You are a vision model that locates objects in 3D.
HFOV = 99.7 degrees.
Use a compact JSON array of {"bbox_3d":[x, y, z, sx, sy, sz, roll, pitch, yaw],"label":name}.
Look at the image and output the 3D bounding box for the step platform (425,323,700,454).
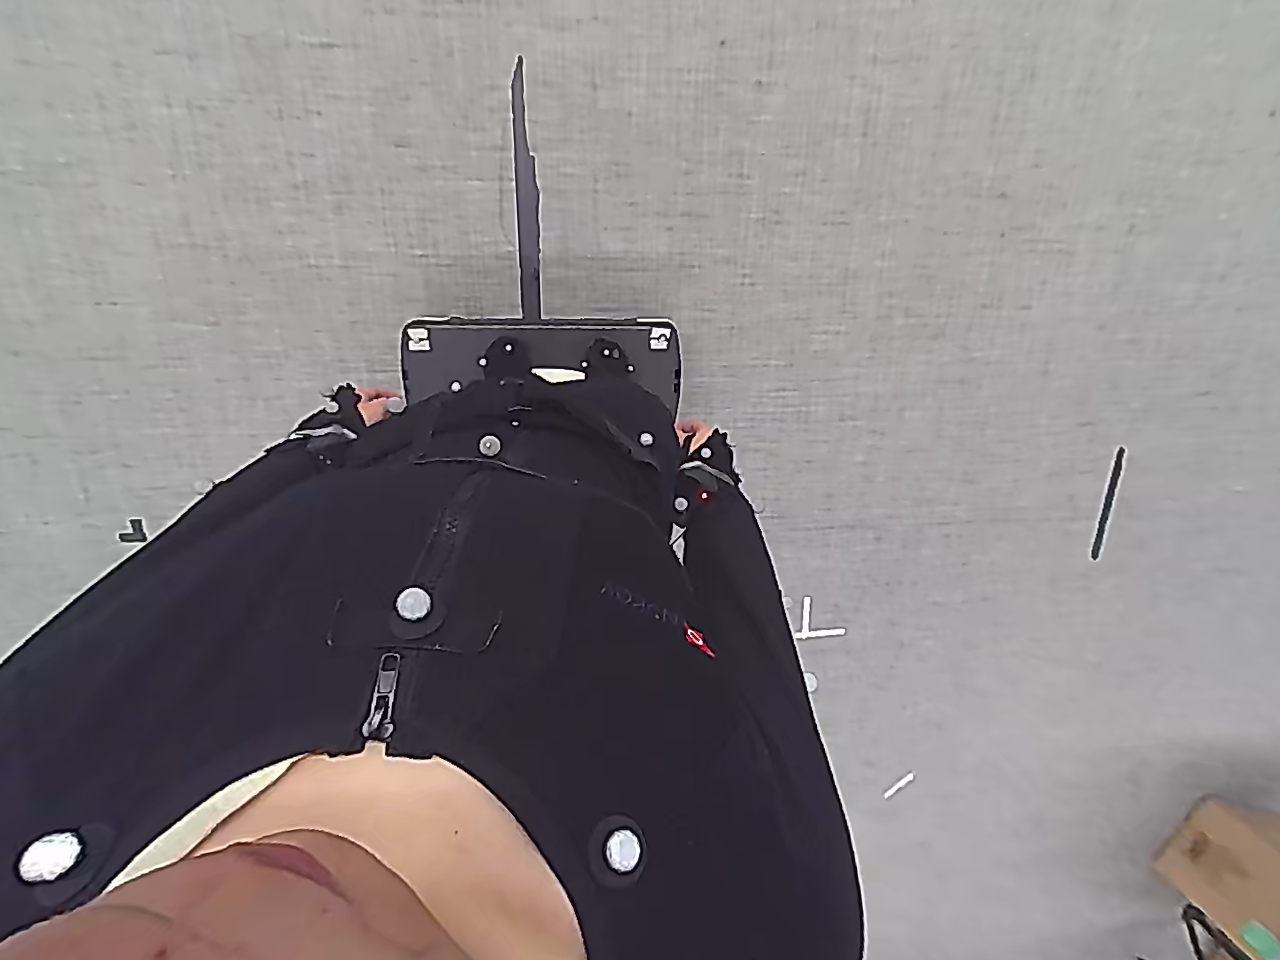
[{"bbox_3d":[-0.190,-0.234,1.398,0.684,0.204,0.286,3,106,-7],"label":"step platform"}]
